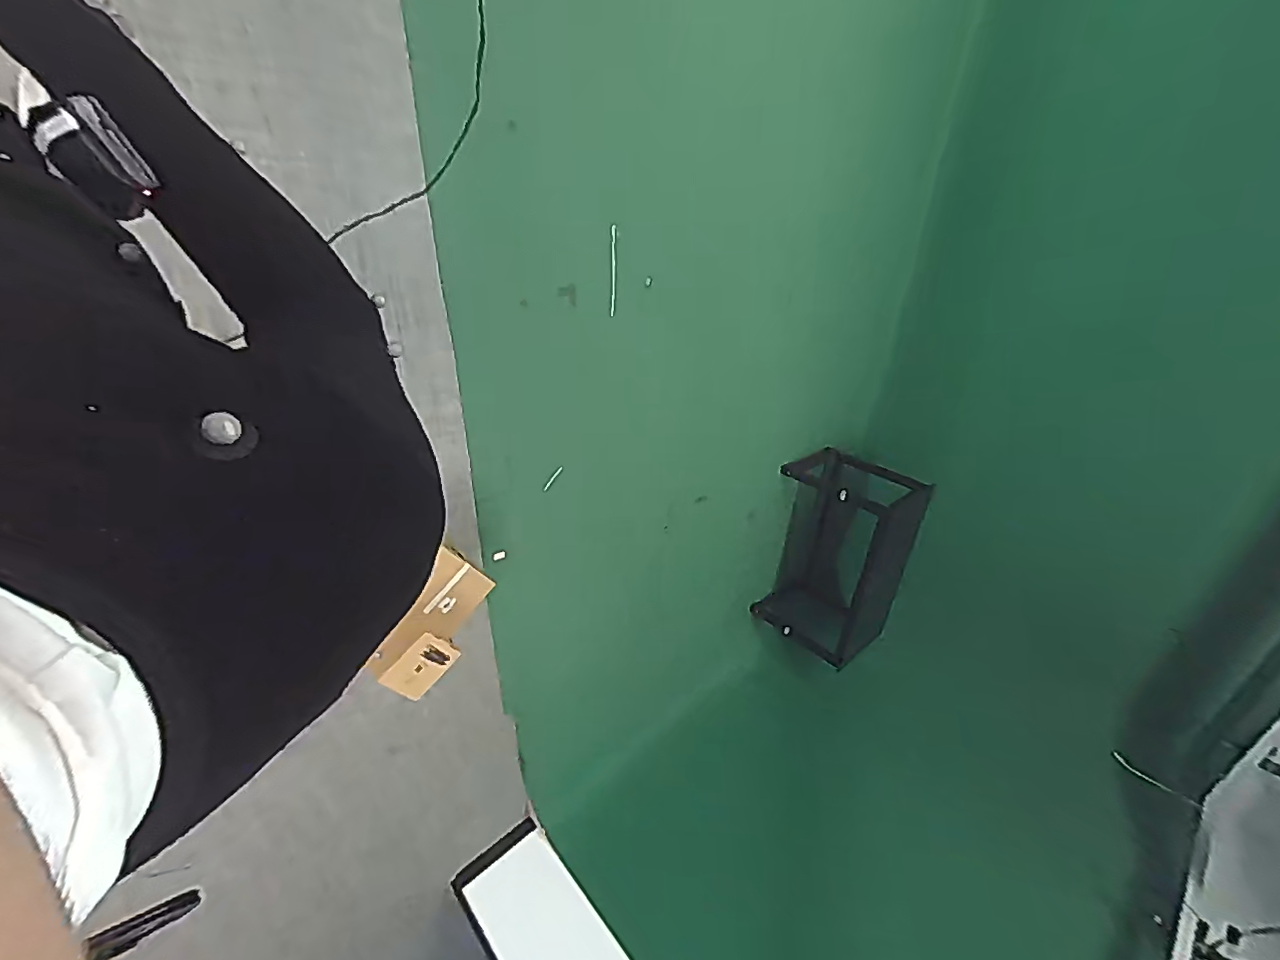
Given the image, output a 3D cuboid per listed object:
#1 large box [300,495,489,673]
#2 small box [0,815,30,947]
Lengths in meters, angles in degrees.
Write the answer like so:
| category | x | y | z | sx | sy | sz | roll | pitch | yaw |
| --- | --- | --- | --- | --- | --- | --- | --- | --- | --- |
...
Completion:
| category | x | y | z | sx | sy | sz | roll | pitch | yaw |
| --- | --- | --- | --- | --- | --- | --- | --- | --- | --- |
| large box | -0.782 | 0.329 | 1.734 | 0.408 | 0.320 | 0.320 | -50 | 141 | -13 |
| small box | -1.333 | 0.815 | 1.065 | 0.168 | 0.176 | 0.179 | 0 | 111 | -47 |
